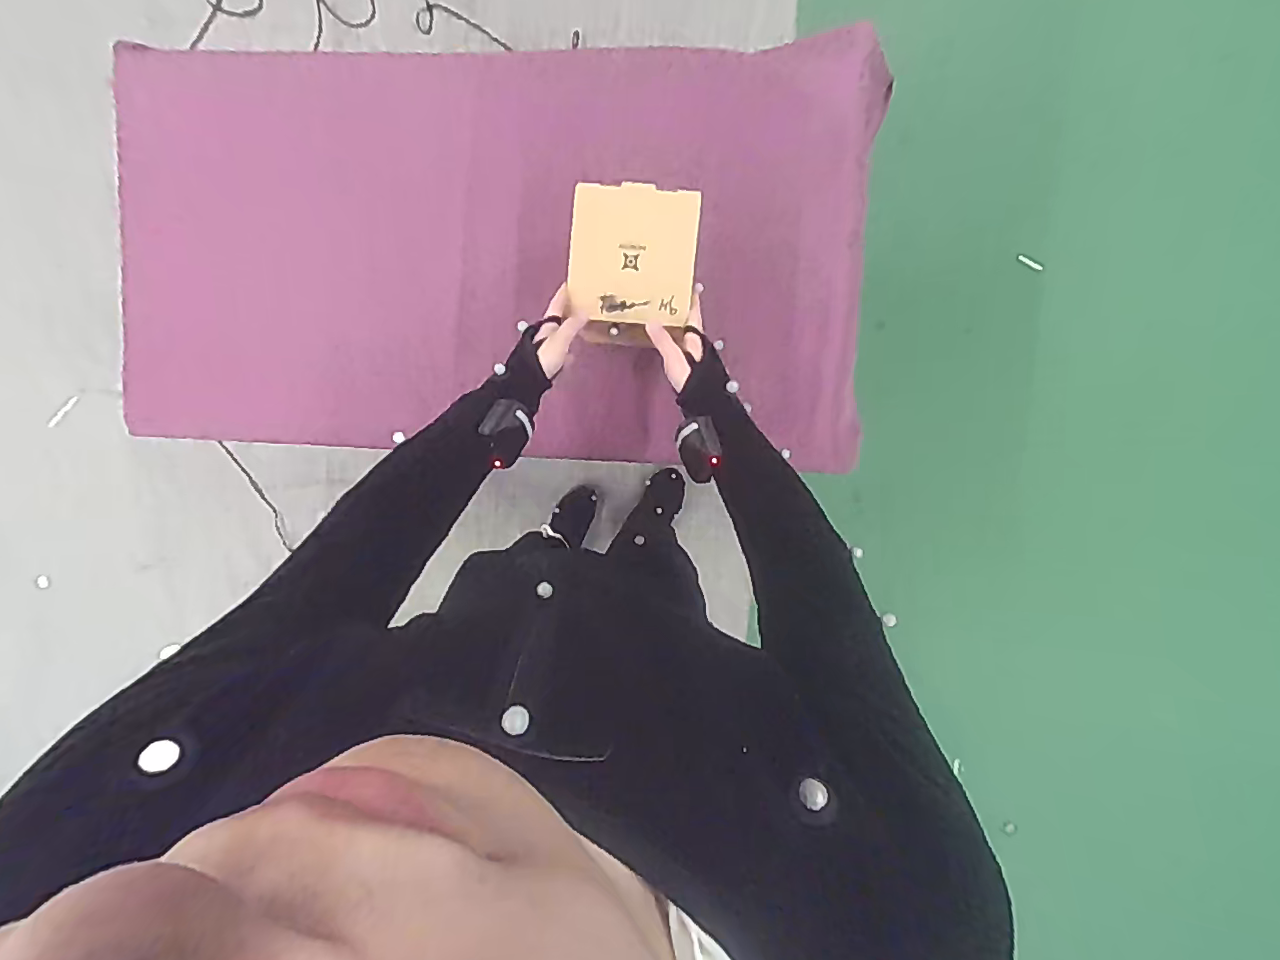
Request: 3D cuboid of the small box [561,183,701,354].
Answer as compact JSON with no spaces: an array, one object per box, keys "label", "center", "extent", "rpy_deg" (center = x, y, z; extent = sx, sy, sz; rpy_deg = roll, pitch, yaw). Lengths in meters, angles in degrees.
[{"label":"small box","center":[-0.009,-0.289,0.771],"extent":[0.168,0.176,0.179],"rpy_deg":[6,94,3]}]
